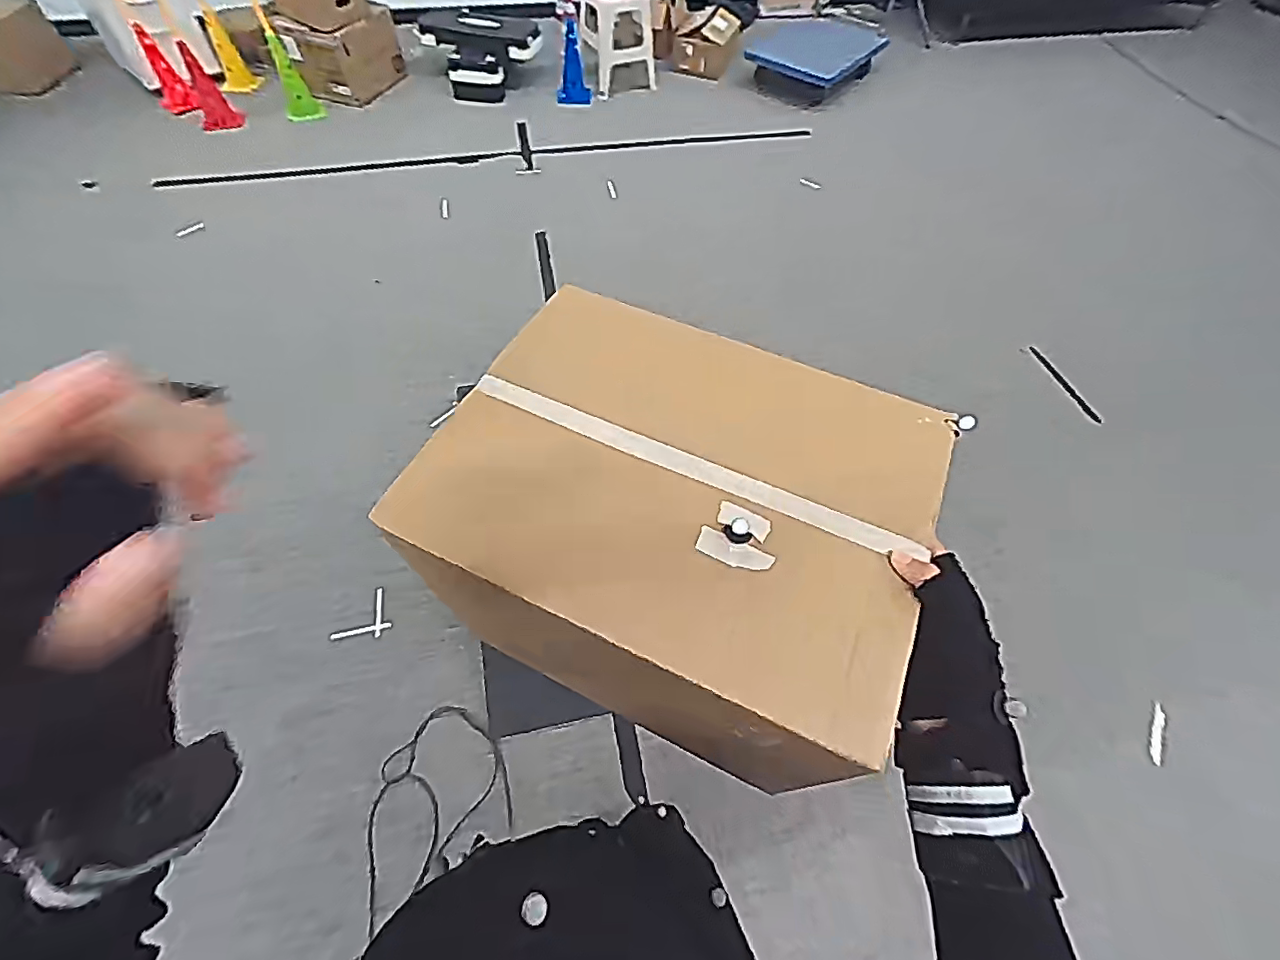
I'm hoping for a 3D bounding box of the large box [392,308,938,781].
[{"bbox_3d":[0.033,0.076,0.597,0.408,0.320,0.320,22,61,12],"label":"large box"}]

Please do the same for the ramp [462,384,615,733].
[{"bbox_3d":[-0.216,0.131,1.540,0.509,0.206,0.991,-10,58,-10],"label":"ramp"}]
